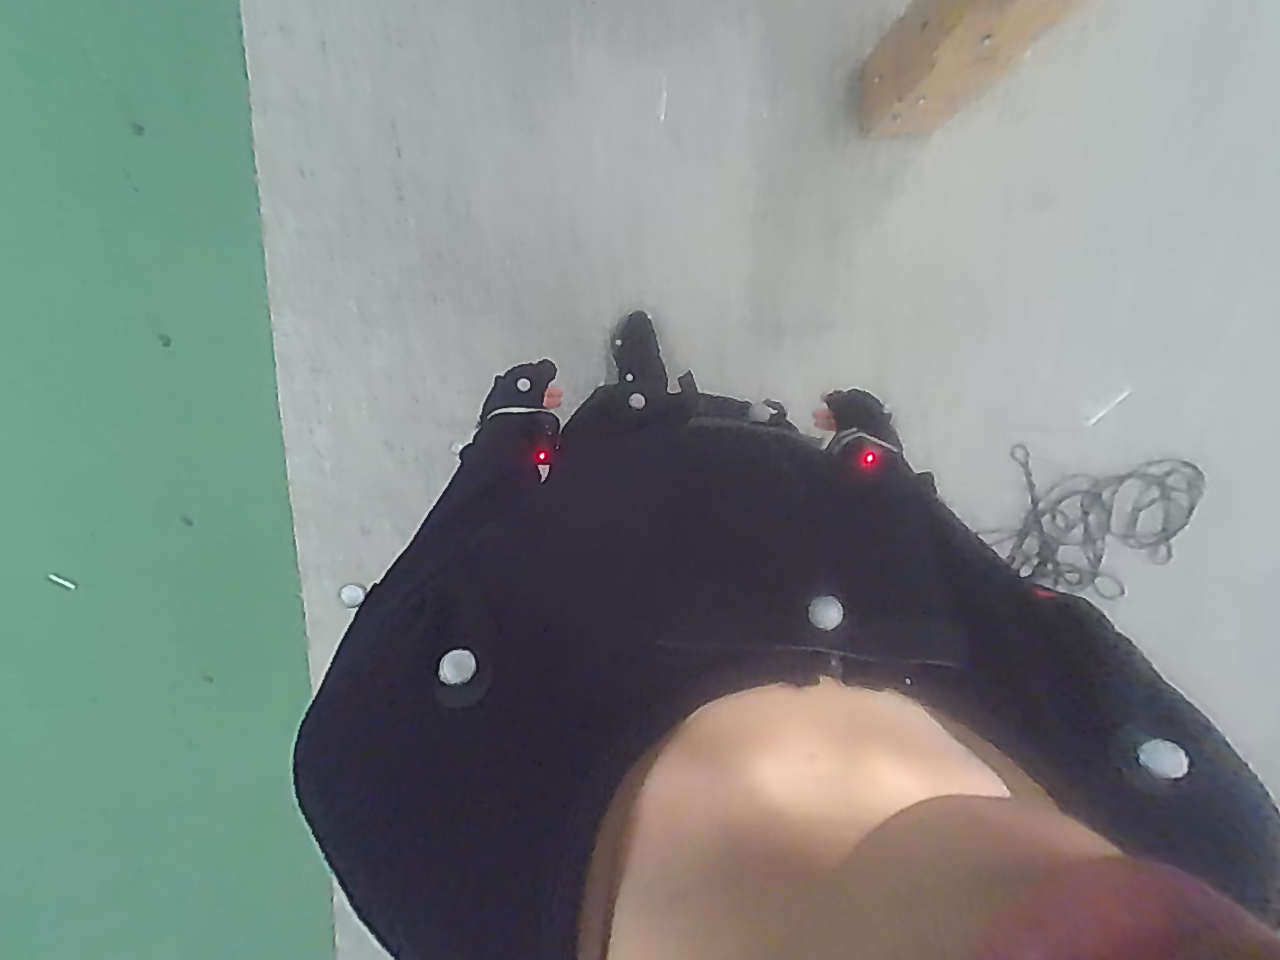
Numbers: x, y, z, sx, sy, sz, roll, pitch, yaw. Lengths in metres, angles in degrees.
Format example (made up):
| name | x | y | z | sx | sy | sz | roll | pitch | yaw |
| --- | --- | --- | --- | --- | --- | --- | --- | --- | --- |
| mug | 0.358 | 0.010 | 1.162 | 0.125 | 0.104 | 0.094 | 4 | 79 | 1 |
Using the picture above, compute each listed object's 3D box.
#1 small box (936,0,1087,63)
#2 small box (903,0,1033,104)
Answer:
| name | x | y | z | sx | sy | sz | roll | pitch | yaw |
| --- | --- | --- | --- | --- | --- | --- | --- | --- | --- |
| small box | 0.612 | -0.828 | 0.881 | 0.168 | 0.176 | 0.179 | 1 | 101 | 1 |
| small box | 0.627 | -0.853 | 1.042 | 0.168 | 0.176 | 0.179 | -1 | 100 | 1 |
